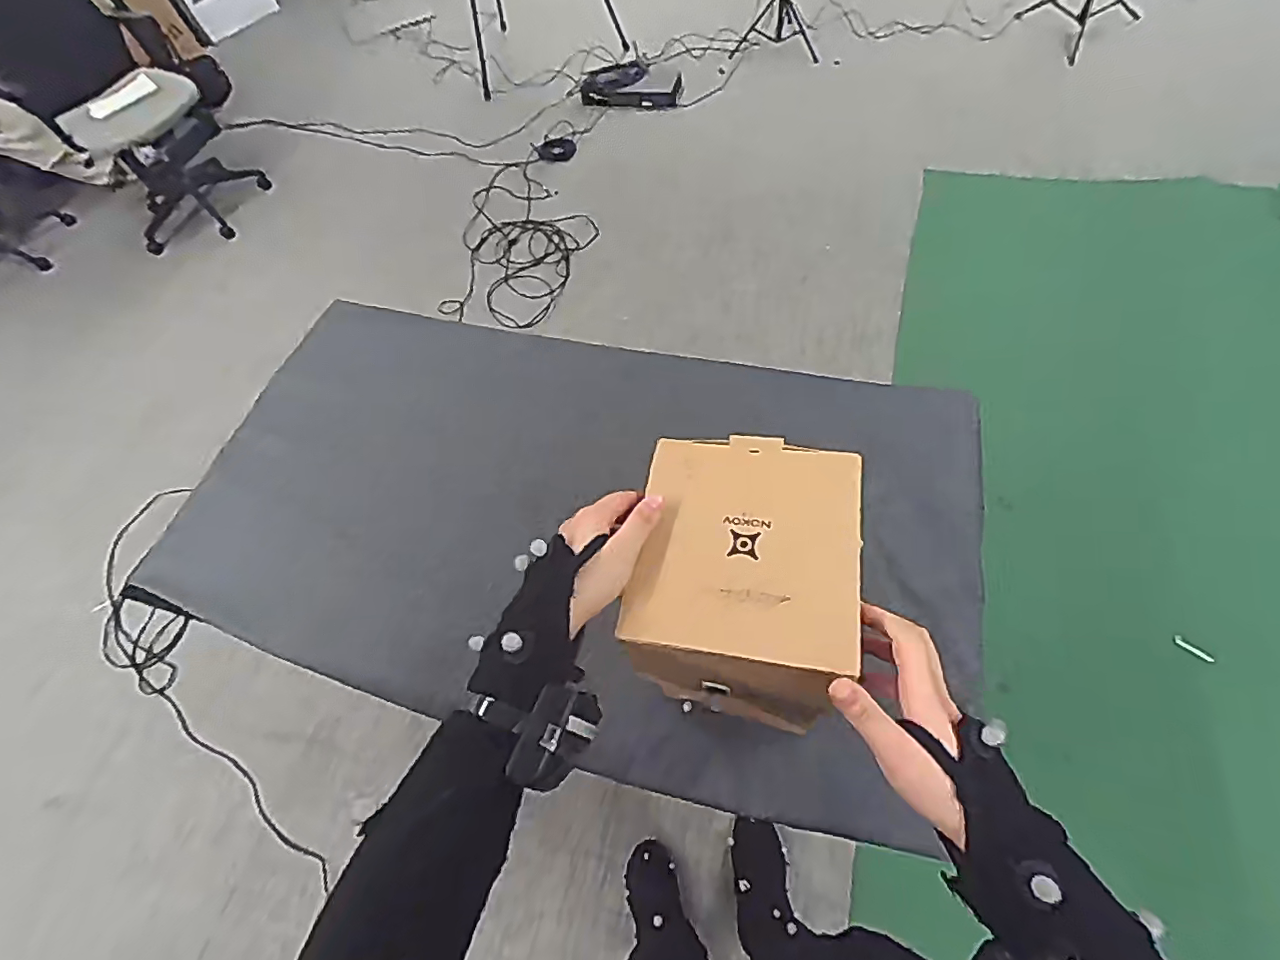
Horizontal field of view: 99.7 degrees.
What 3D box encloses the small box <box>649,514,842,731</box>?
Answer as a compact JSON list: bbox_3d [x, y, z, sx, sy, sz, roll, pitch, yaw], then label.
[{"bbox_3d":[0.120,0.165,0.609,0.168,0.176,0.179,10,60,15],"label":"small box"}]
